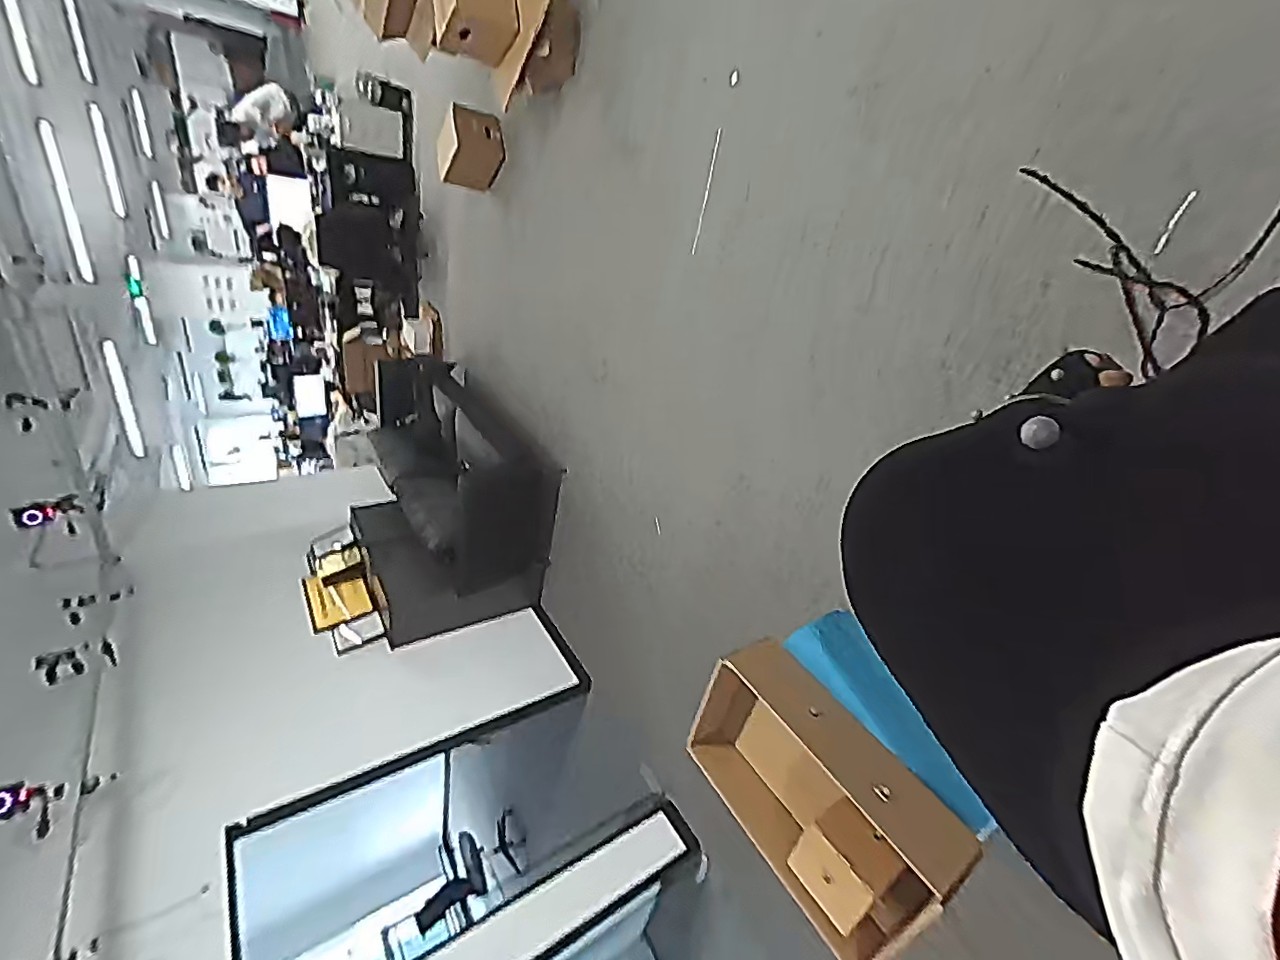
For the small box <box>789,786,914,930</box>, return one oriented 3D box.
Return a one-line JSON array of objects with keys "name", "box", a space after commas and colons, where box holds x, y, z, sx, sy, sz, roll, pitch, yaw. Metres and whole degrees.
[{"name": "small box", "box": [0.466, 0.825, 1.193, 0.168, 0.176, 0.179, 42, 131, 43]}]
